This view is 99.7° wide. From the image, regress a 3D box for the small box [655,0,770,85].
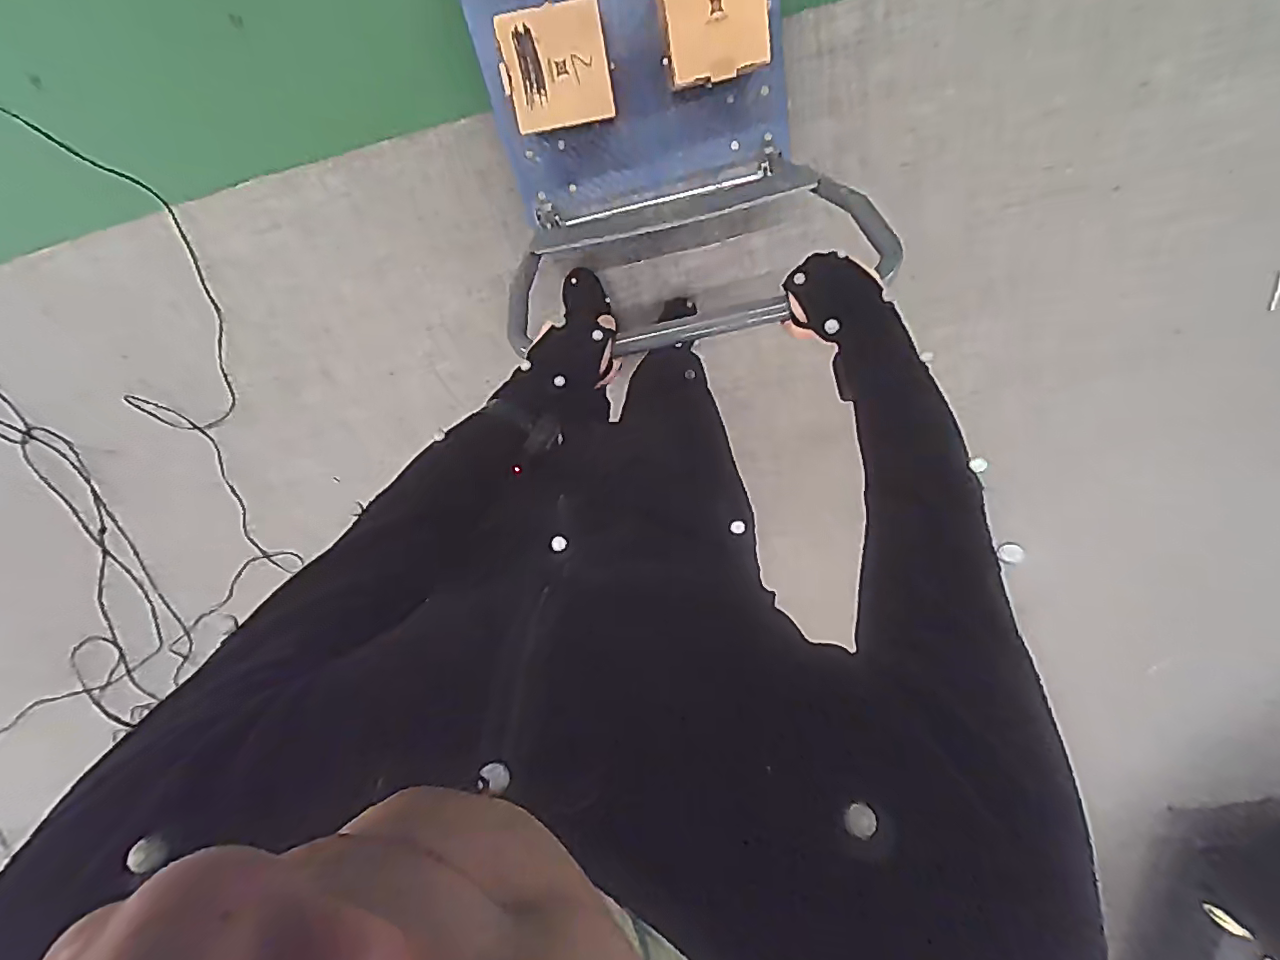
[{"bbox_3d":[0.120,-0.815,0.941,0.168,0.176,0.179,-12,124,5],"label":"small box"}]
